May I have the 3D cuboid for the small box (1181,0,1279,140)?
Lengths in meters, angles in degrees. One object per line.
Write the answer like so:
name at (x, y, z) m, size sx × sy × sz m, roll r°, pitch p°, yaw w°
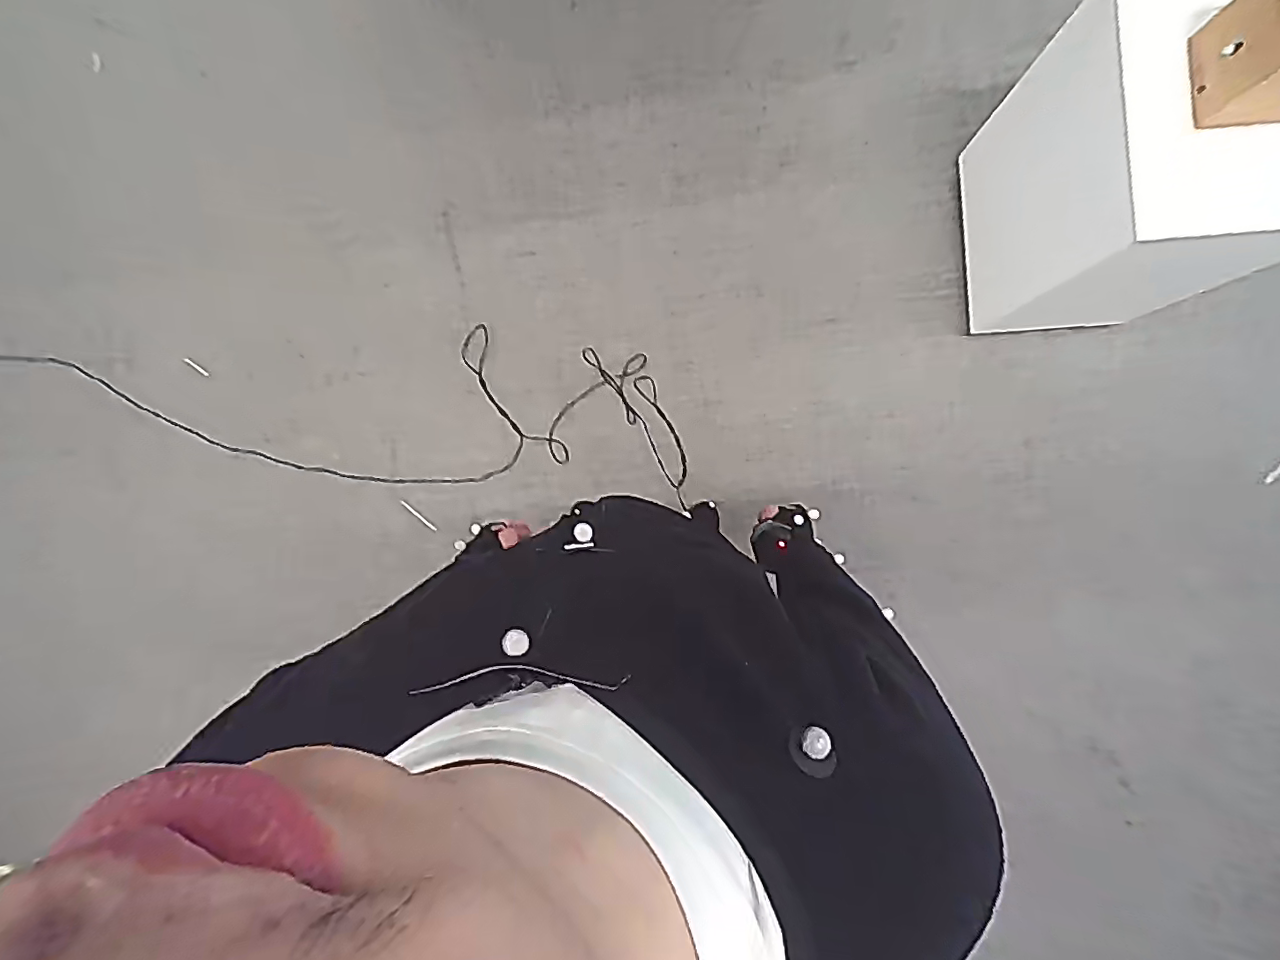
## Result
small box at (1.037, -0.684, 0.874) m, size 0.179 × 0.176 × 0.168 m, roll -5°, pitch 87°, yaw 3°
